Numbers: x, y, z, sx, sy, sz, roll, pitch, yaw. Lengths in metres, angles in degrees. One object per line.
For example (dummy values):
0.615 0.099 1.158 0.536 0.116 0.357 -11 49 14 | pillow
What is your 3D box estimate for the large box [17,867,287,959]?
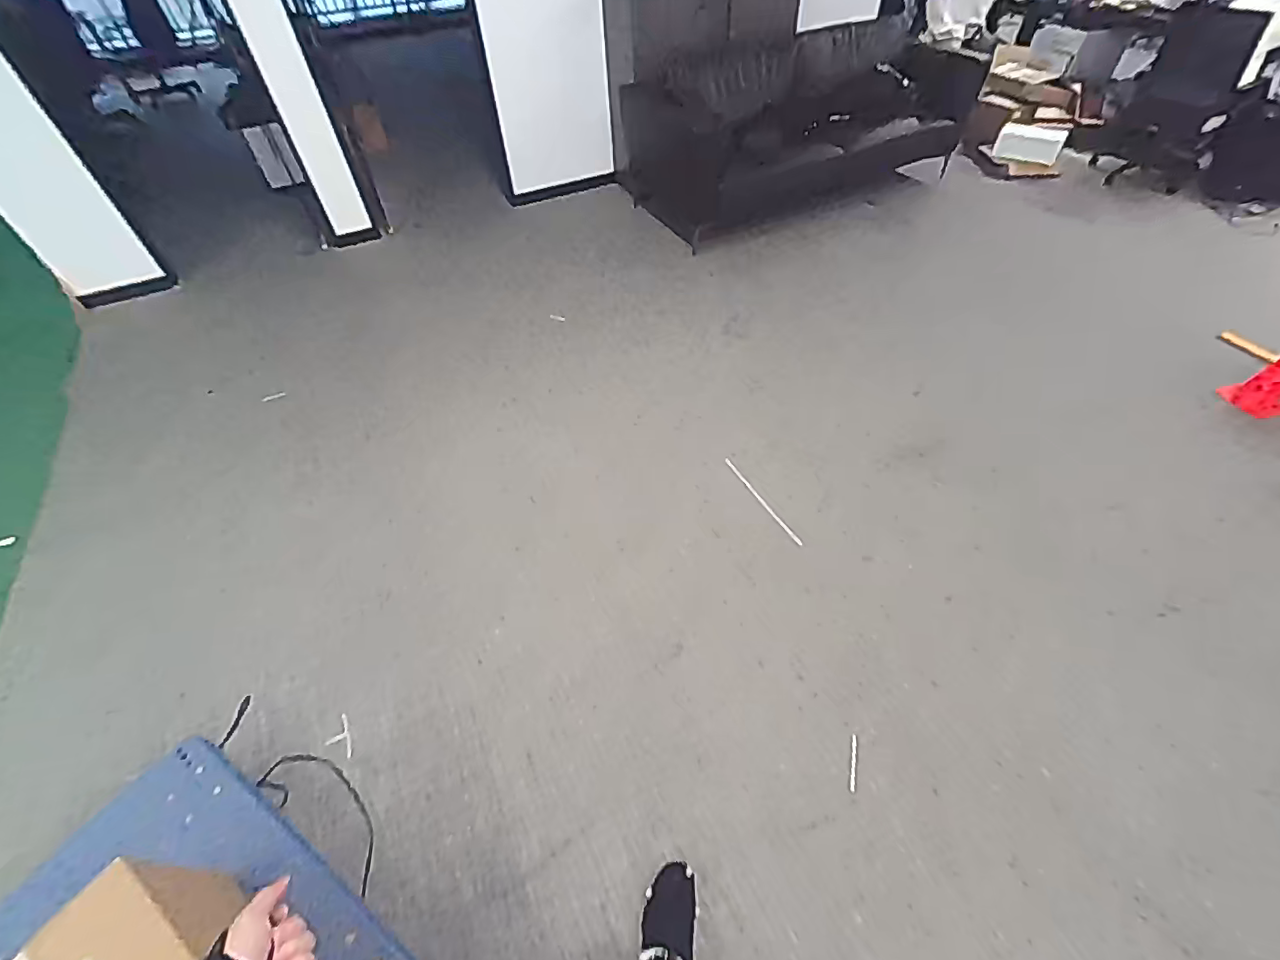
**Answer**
-0.819 0.939 0.894 0.408 0.320 0.320 24 54 23 | large box
